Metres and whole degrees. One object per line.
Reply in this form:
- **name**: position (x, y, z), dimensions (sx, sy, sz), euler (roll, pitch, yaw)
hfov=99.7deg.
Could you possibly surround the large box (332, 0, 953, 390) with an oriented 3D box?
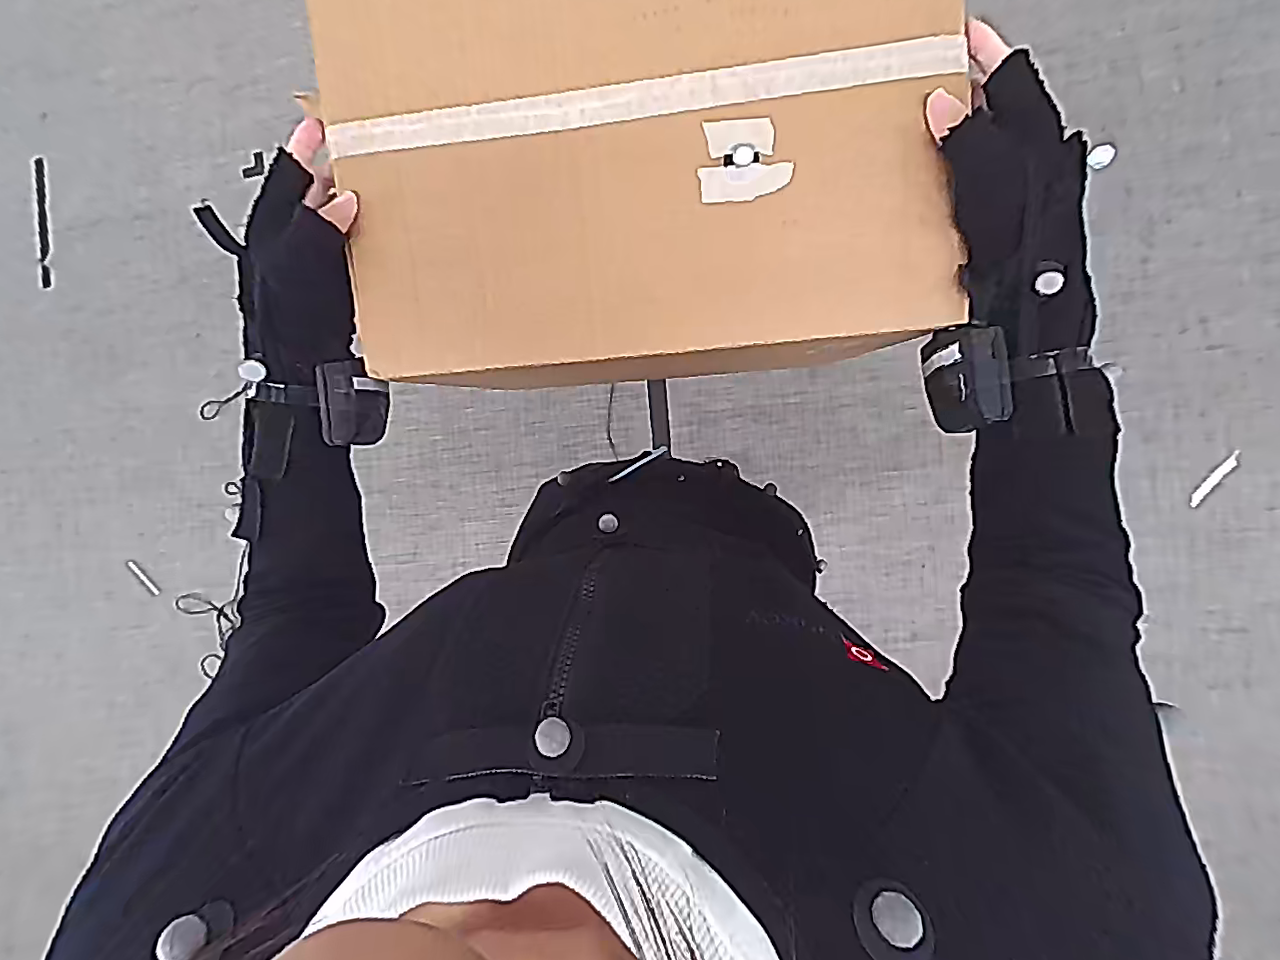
- **large box**: position (0.007, -0.264, 0.506), dimensions (0.408, 0.320, 0.320), euler (-5, 98, 4)
